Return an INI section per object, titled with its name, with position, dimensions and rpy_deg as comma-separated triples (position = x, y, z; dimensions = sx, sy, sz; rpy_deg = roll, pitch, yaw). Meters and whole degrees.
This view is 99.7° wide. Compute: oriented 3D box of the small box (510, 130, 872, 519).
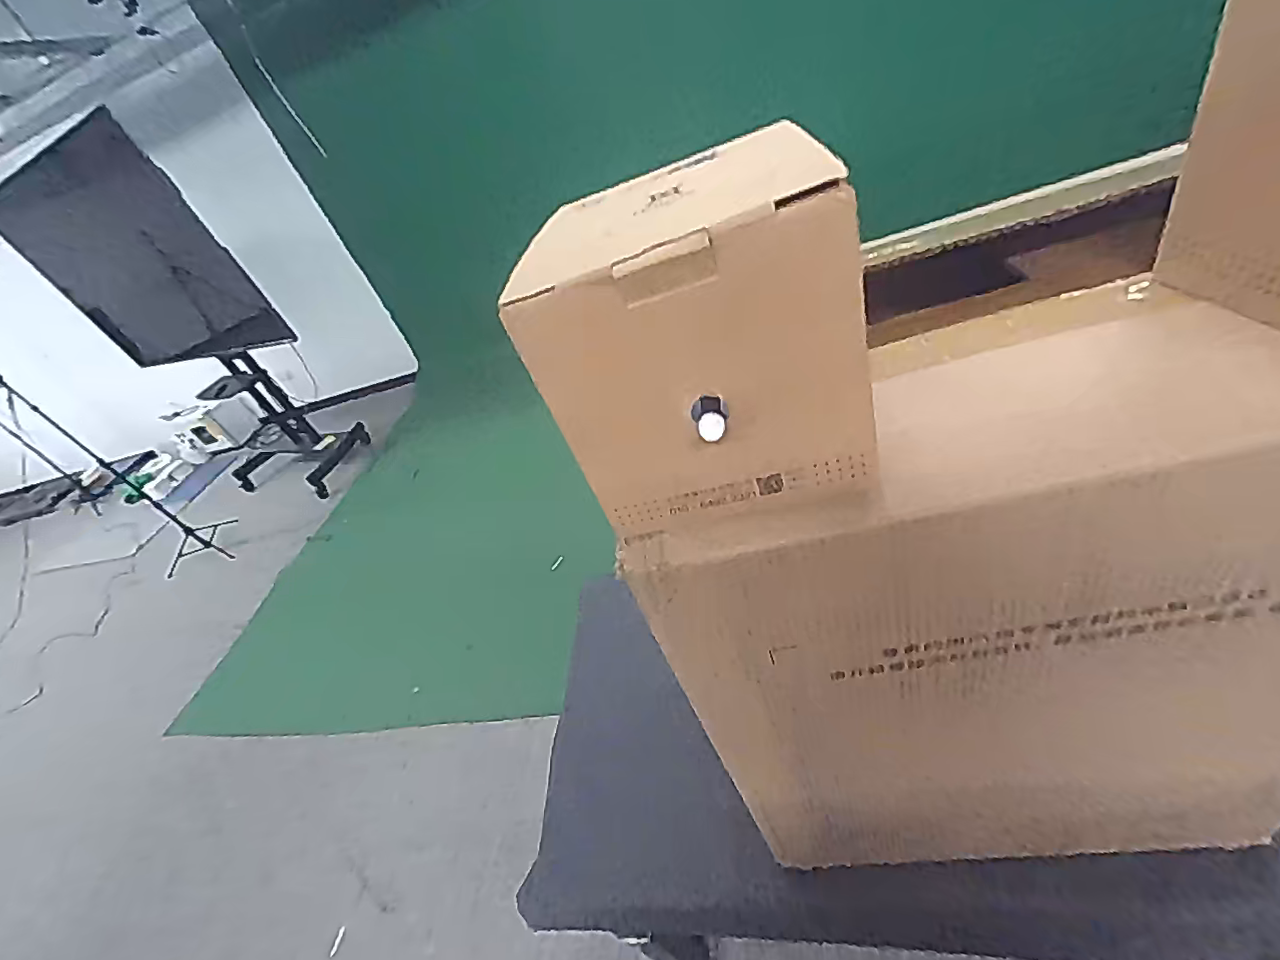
[small box]
position = 0.043, -0.091, 0.353
dimensions = 0.168, 0.176, 0.179
rpy_deg = -12, 39, 14
